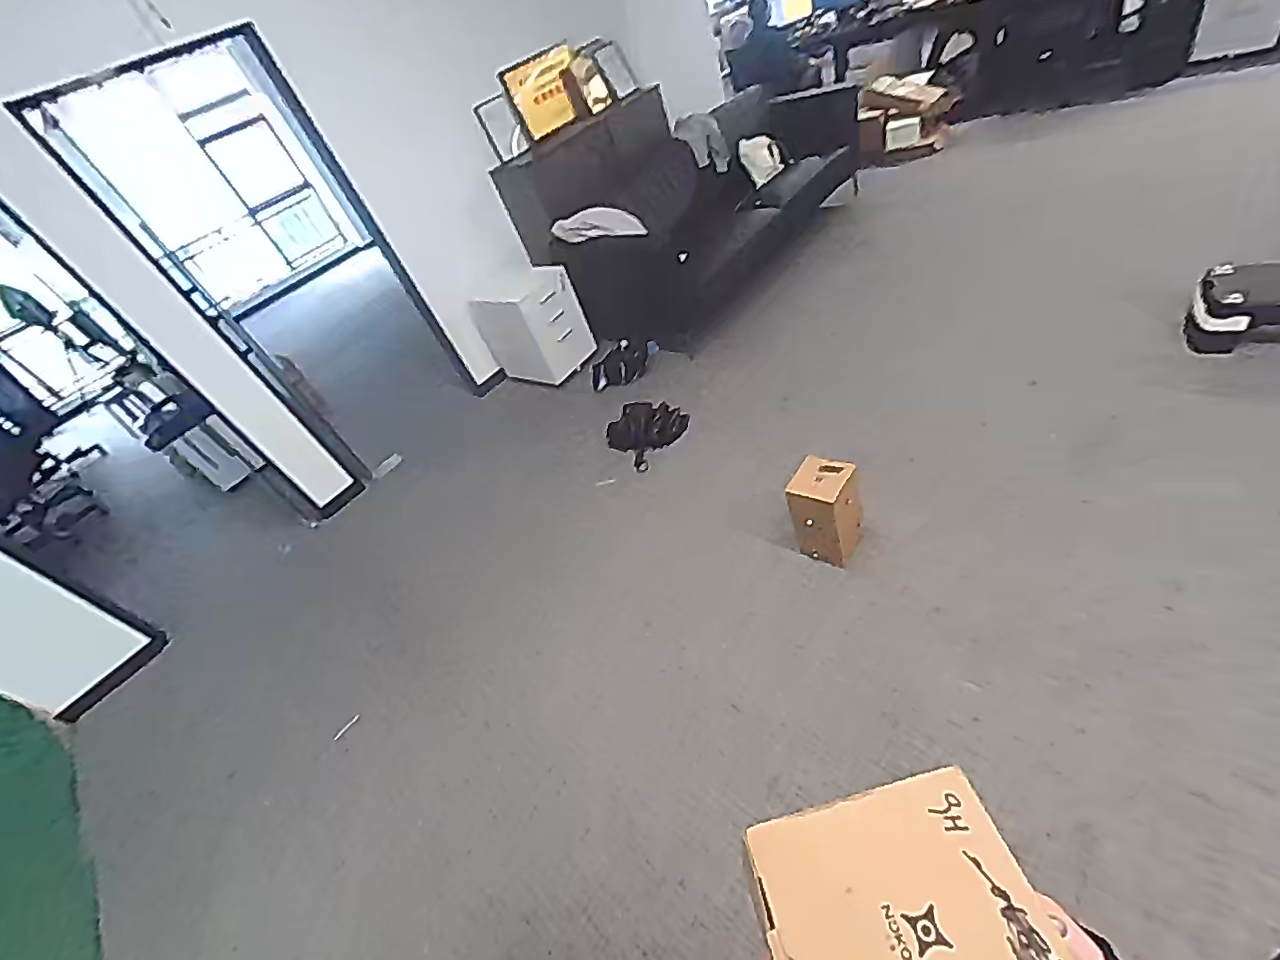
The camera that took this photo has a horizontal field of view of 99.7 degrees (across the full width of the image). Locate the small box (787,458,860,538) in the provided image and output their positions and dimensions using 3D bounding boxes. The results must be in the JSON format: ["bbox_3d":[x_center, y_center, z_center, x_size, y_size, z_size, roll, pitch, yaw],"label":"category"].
[{"bbox_3d":[0.604,0.058,1.762,0.168,0.176,0.179,16,54,40],"label":"small box"}]

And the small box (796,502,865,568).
[{"bbox_3d":[0.664,0.172,1.866,0.168,0.176,0.179,16,55,41],"label":"small box"}]
